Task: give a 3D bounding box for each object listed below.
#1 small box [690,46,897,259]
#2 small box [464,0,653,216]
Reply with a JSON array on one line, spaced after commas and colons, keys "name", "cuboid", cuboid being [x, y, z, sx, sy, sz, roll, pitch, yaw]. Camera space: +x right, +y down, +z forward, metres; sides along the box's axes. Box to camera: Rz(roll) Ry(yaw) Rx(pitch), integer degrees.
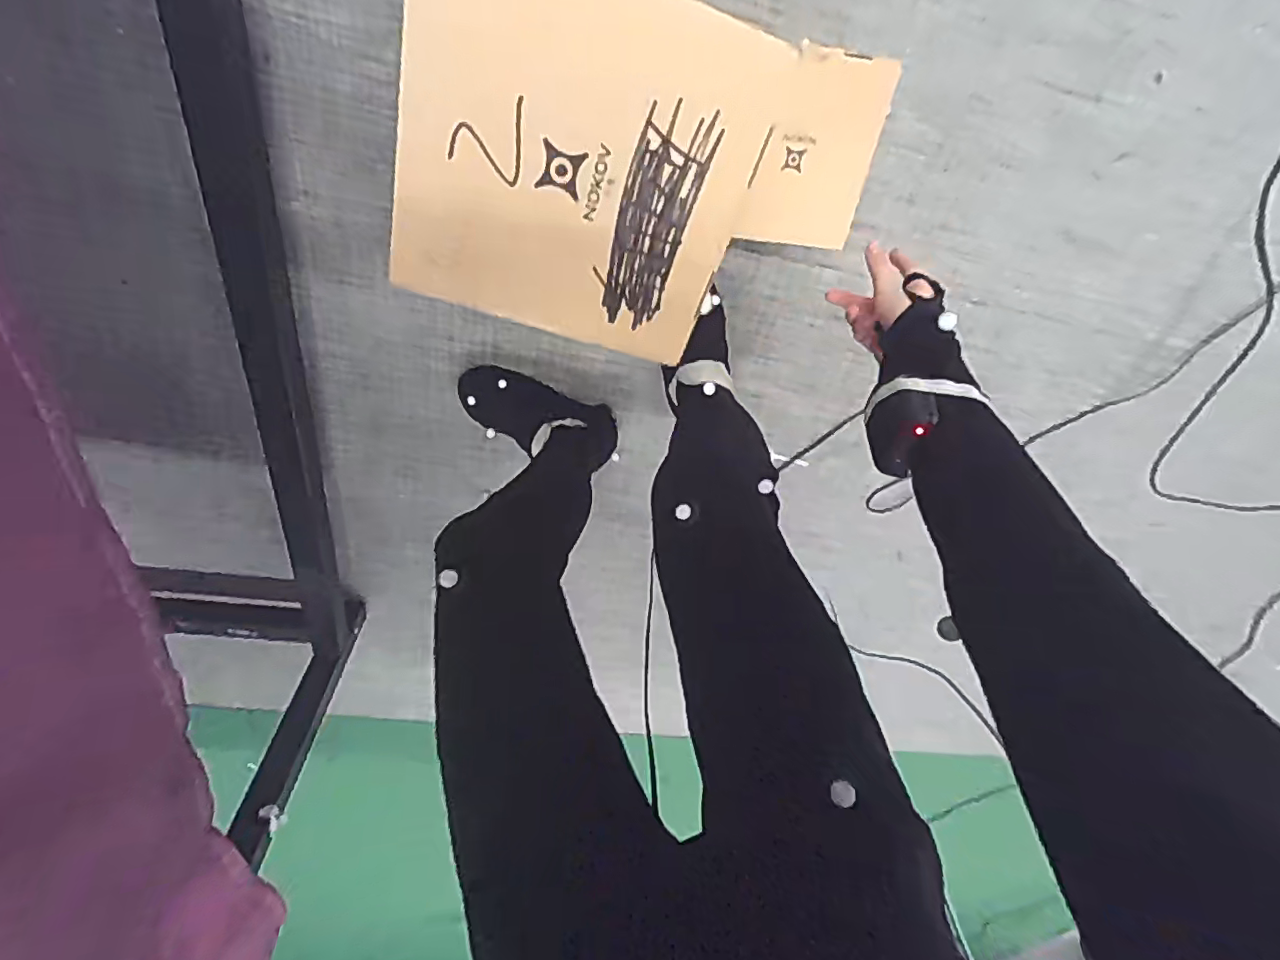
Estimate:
[{"name": "small box", "cuboid": [0.157, -0.379, 0.628, 0.168, 0.176, 0.179, 4, 127, -6]}, {"name": "small box", "cuboid": [-0.089, -0.412, 0.584, 0.168, 0.176, 0.179, 7, 127, -9]}]
